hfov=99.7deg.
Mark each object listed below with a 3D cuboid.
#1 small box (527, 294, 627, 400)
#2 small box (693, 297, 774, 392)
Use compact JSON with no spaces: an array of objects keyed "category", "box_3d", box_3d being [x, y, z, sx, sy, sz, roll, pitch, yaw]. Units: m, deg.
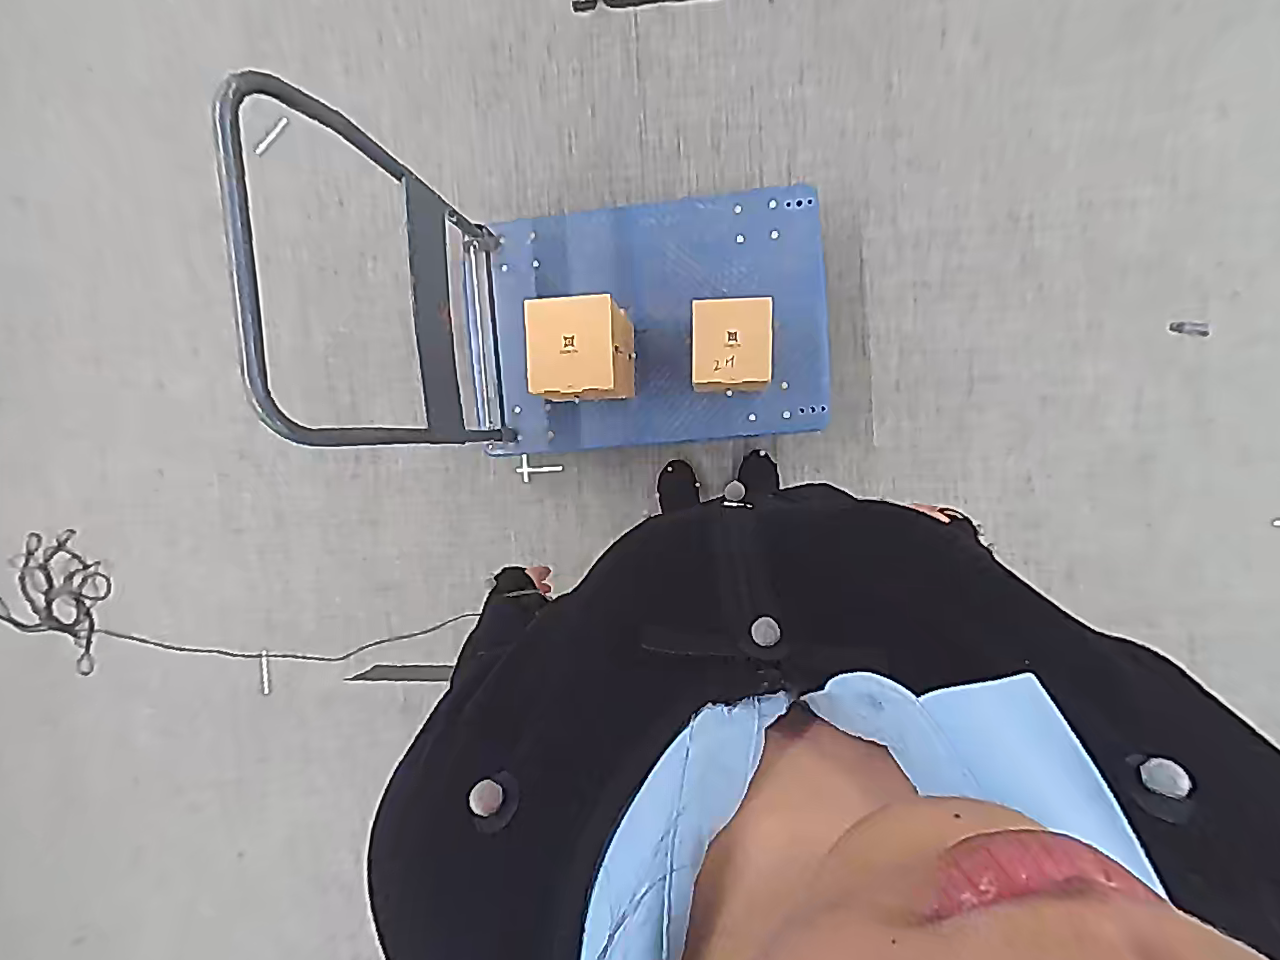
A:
[{"category":"small box","box_3d":[-0.119,-0.256,1.078,0.168,0.176,0.179,-2,94,6]},{"category":"small box","box_3d":[0.203,-0.294,1.202,0.168,0.176,0.179,0,93,7]}]
